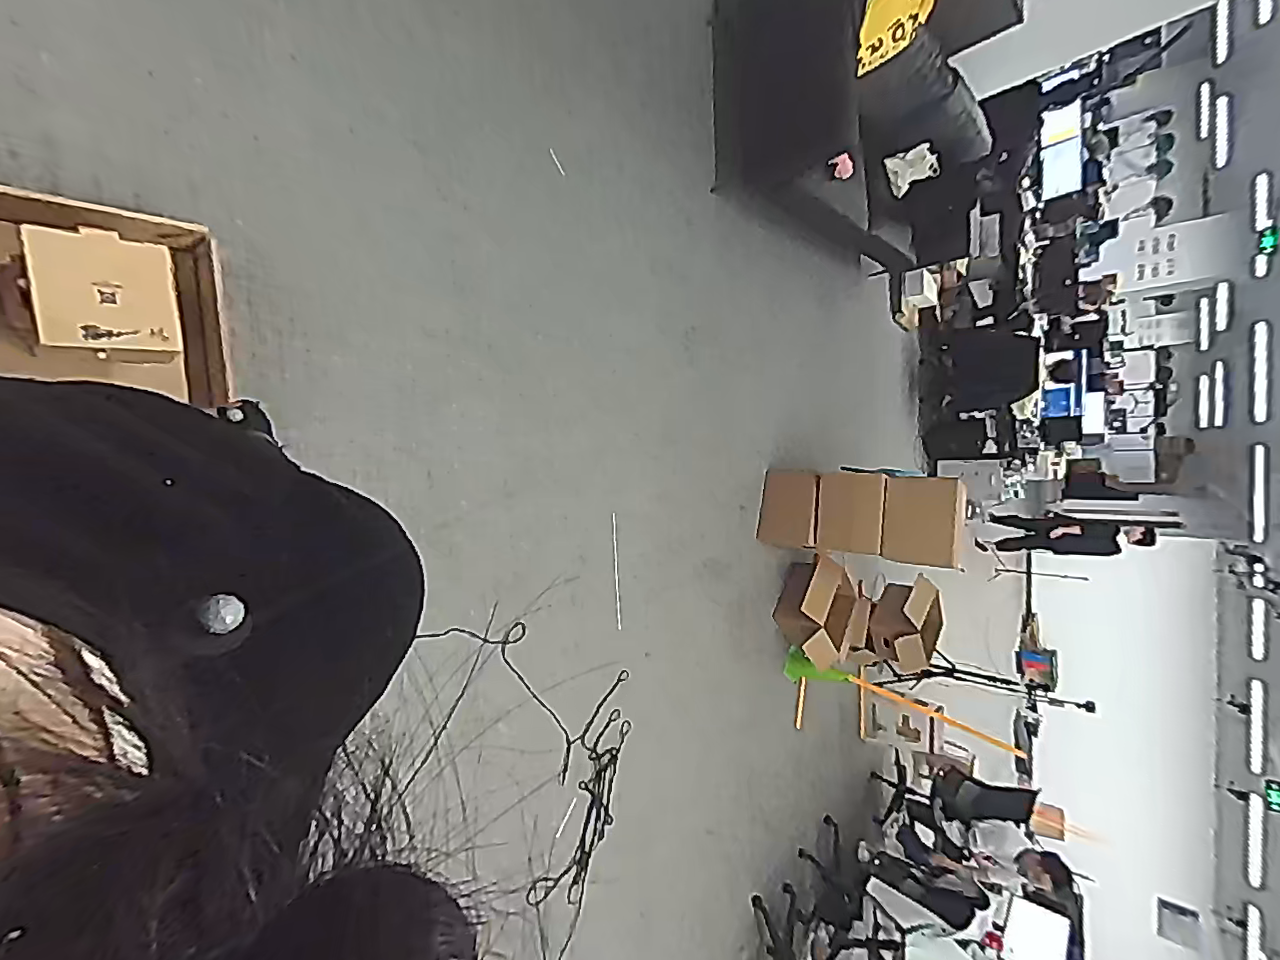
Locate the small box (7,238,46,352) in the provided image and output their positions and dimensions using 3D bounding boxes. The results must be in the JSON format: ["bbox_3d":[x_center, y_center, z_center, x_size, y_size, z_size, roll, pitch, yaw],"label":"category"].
[{"bbox_3d":[-1.016,-0.327,0.998,0.179,0.176,0.168,-14,103,-48],"label":"small box"}]

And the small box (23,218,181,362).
[{"bbox_3d":[-0.890,-0.300,0.896,0.168,0.176,0.179,-9,97,-47],"label":"small box"}]
